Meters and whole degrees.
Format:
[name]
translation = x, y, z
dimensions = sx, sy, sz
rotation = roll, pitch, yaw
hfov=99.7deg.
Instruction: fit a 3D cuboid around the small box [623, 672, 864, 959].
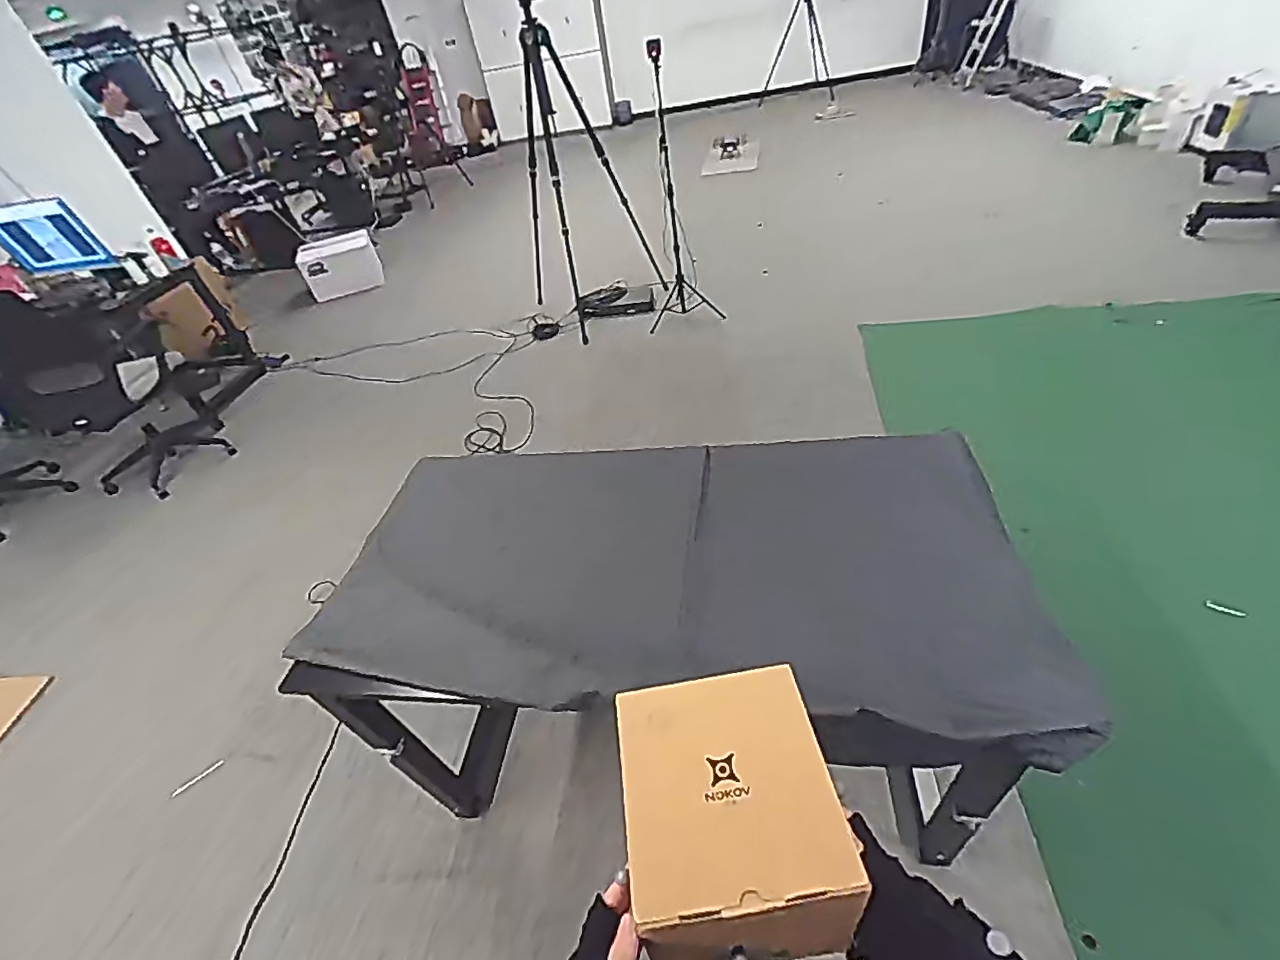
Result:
[small box]
translation = 0.079, 0.308, 0.495
dimensions = 0.168, 0.176, 0.179
rotation = -10, 39, 0
